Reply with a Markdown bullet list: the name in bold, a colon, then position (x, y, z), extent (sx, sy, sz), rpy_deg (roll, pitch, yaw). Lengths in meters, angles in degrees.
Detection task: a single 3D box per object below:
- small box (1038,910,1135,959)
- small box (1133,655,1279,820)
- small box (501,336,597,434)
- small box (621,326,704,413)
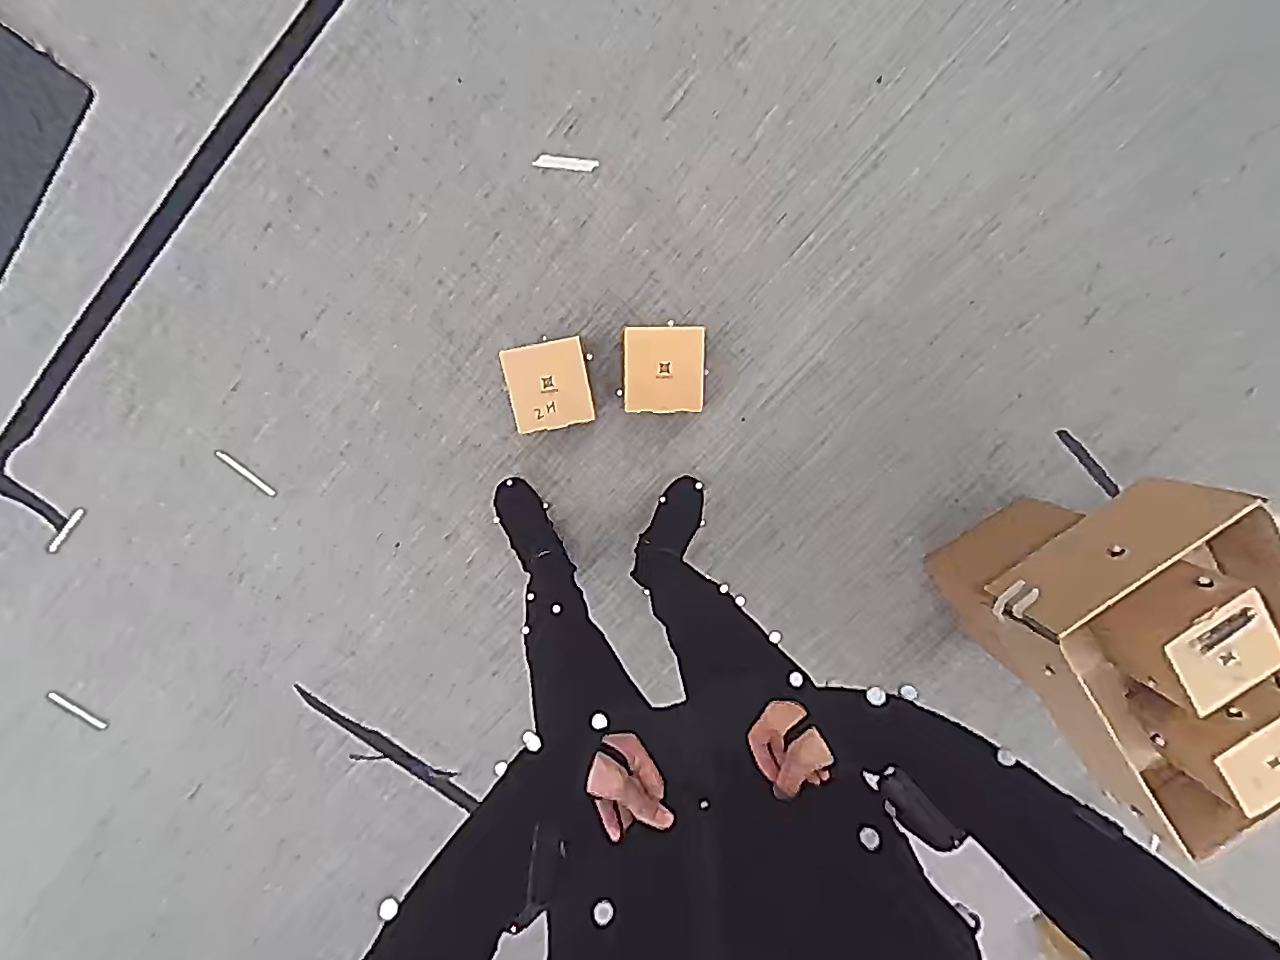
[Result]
- **small box**: position (1.405, 1.497, 1.693), extent (0.179, 0.176, 0.168), rpy_deg (-23, 103, 1)
- **small box**: position (1.078, 0.458, 0.989), extent (0.179, 0.176, 0.168), rpy_deg (-38, 101, 3)
- **small box**: position (-0.191, -0.210, 1.181), extent (0.168, 0.176, 0.179), rpy_deg (-11, 105, 0)
- **small box**: position (0.044, -0.245, 1.190), extent (0.168, 0.176, 0.179), rpy_deg (-2, 105, -4)
